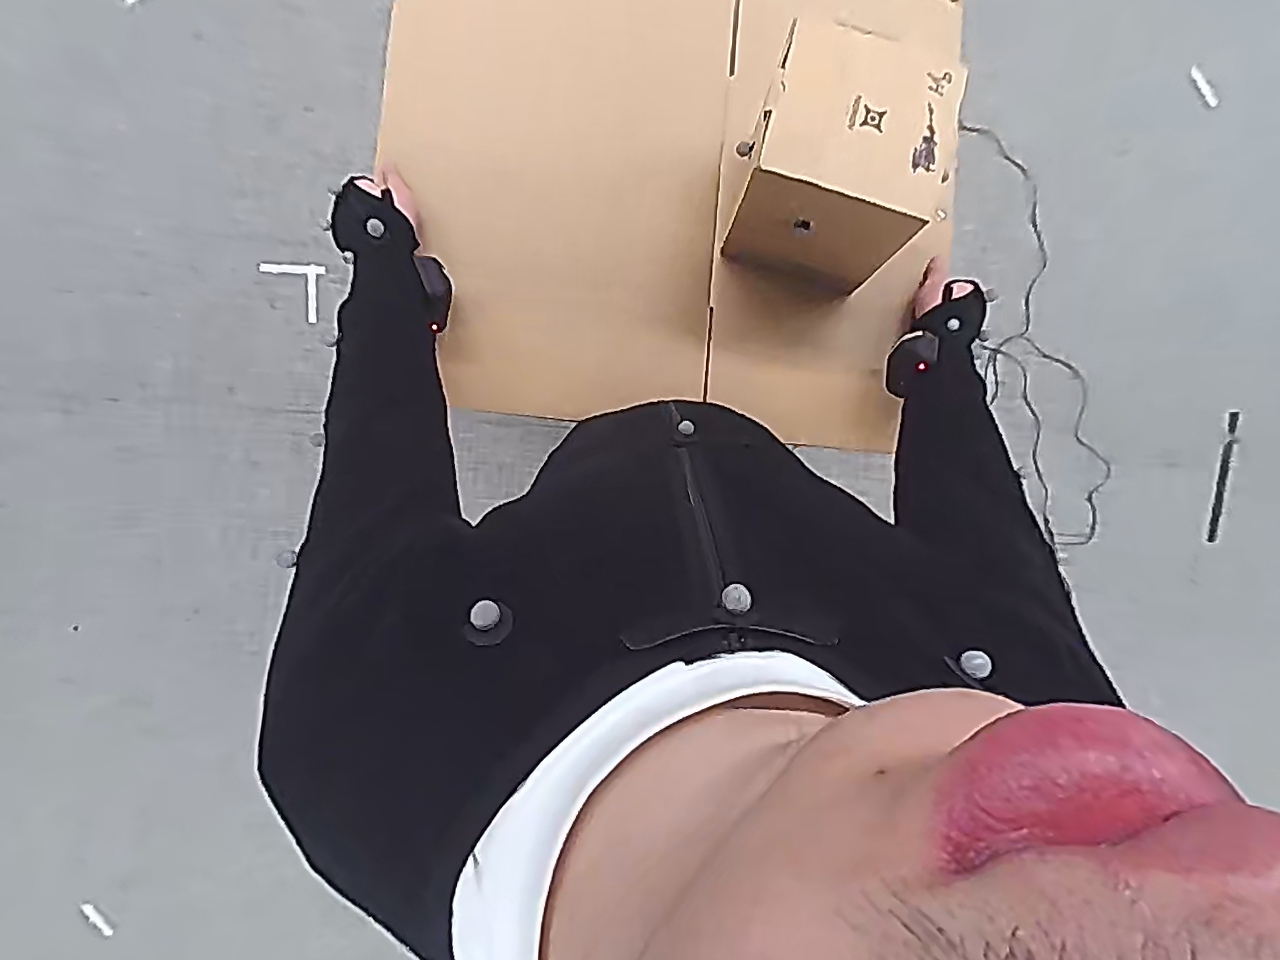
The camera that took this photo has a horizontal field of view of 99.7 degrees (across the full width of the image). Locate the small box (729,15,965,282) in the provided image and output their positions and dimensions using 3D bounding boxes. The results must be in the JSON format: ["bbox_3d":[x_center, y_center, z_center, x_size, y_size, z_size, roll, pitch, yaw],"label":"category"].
[{"bbox_3d":[0.210,-0.345,0.598,0.179,0.176,0.168,16,86,-1],"label":"small box"}]
